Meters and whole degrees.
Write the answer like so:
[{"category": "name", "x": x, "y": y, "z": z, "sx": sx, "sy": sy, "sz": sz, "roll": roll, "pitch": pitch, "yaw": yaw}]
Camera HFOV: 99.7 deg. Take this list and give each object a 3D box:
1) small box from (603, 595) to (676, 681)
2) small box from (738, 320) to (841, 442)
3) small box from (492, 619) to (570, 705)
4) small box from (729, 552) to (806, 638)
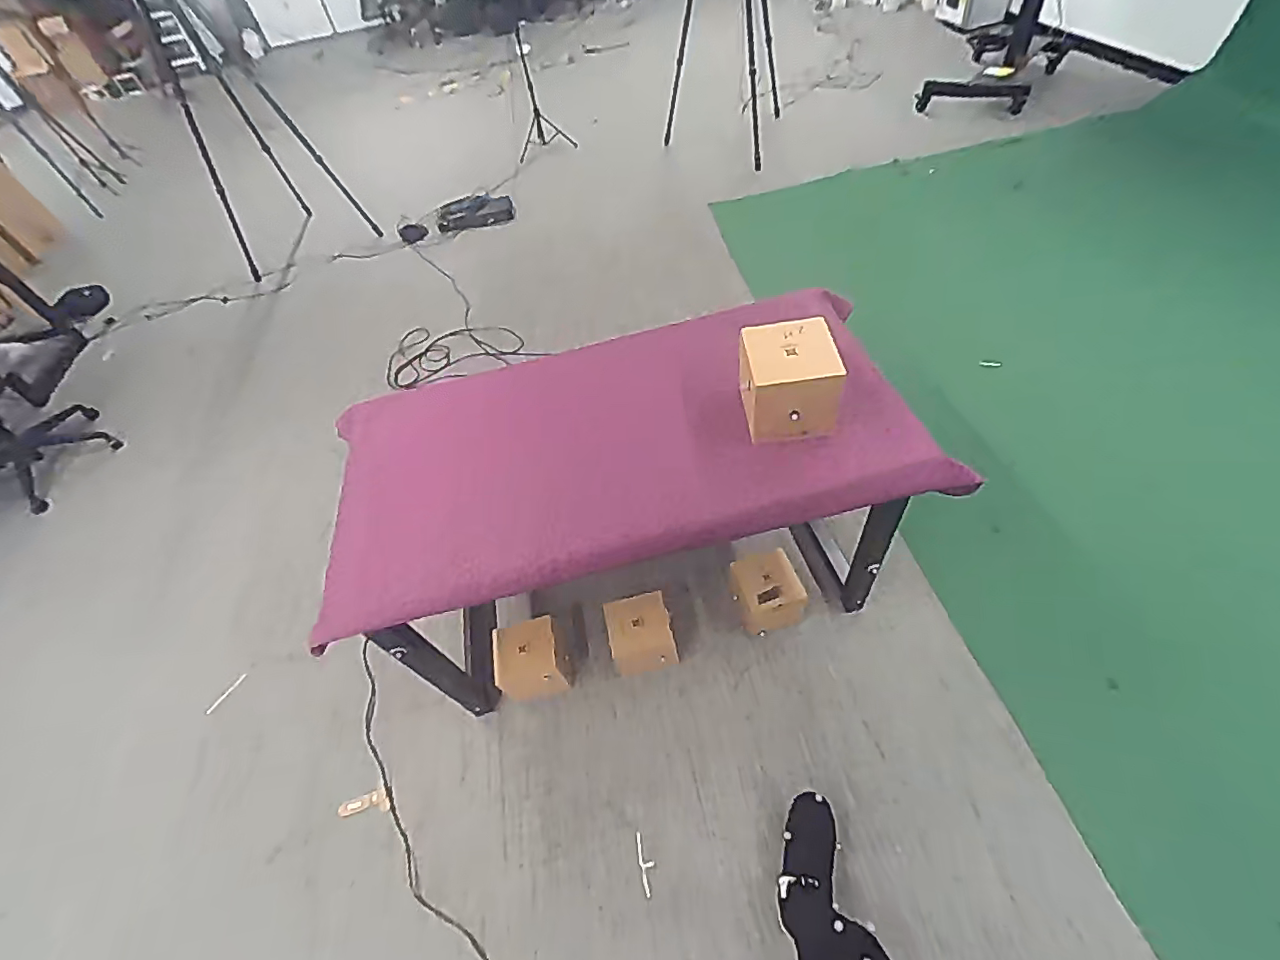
[{"category": "small box", "x": 0.004, "y": 0.459, "z": 1.563, "sx": 0.179, "sy": 0.176, "sz": 0.168, "roll": -15, "pitch": 50, "yaw": 0}, {"category": "small box", "x": 0.291, "y": -0.190, "z": 1.086, "sx": 0.168, "sy": 0.176, "sz": 0.179, "roll": -7, "pitch": 51, "yaw": 5}, {"category": "small box", "x": -0.314, "y": 0.531, "z": 1.564, "sx": 0.179, "sy": 0.176, "sz": 0.168, "roll": -15, "pitch": 51, "yaw": -2}, {"category": "small box", "x": 0.370, "y": 0.344, "z": 1.585, "sx": 0.168, "sy": 0.176, "sz": 0.179, "roll": -17, "pitch": 50, "yaw": -3}]
